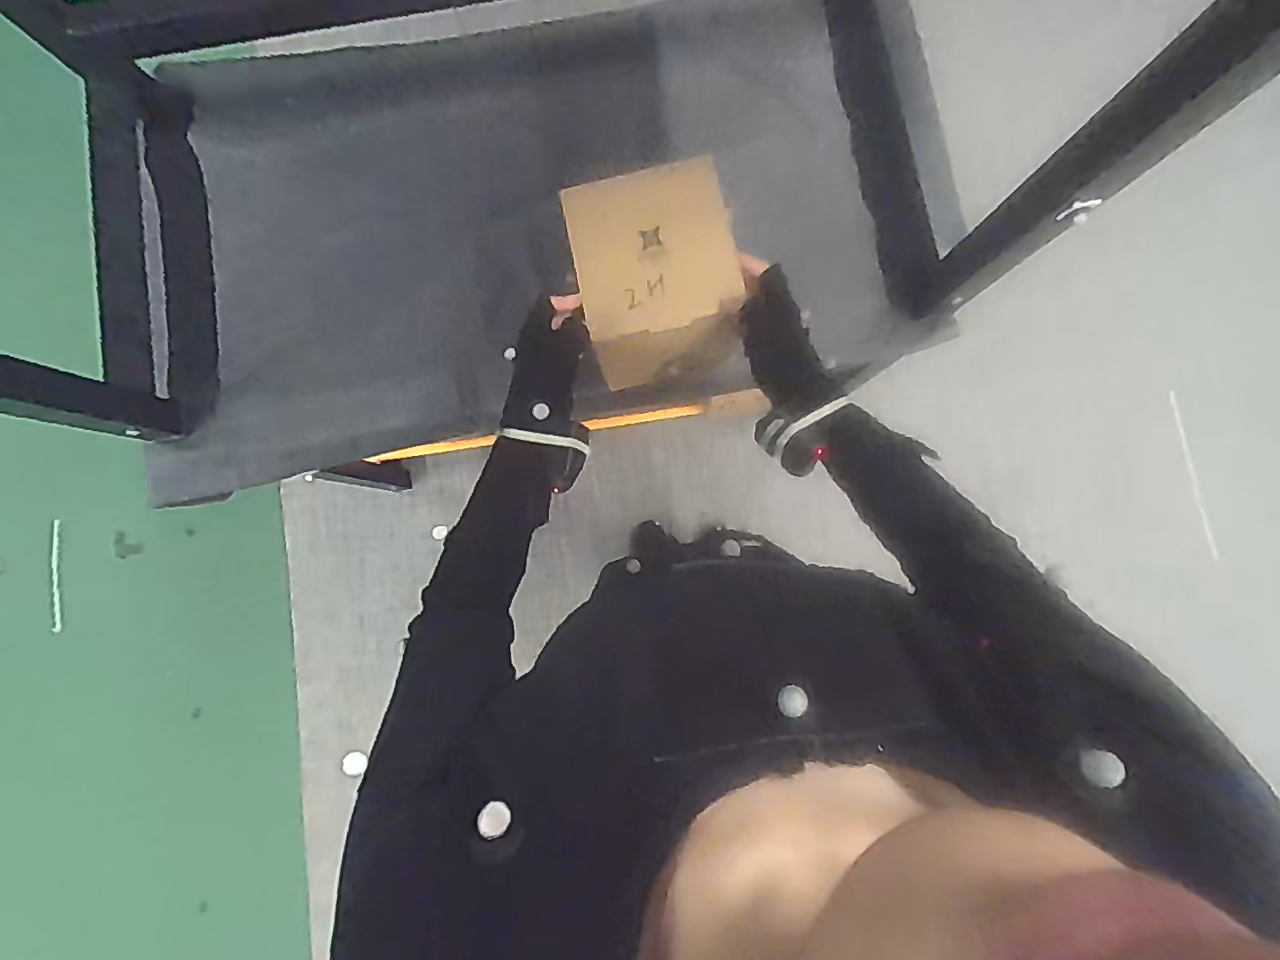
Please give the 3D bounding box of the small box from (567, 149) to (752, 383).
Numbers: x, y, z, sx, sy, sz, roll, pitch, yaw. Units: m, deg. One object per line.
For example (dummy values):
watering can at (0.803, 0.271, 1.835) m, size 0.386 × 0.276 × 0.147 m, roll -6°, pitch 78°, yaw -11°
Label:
small box at (0.022, -0.234, 0.629) m, size 0.168 × 0.176 × 0.179 m, roll -11°, pitch 81°, yaw 3°
